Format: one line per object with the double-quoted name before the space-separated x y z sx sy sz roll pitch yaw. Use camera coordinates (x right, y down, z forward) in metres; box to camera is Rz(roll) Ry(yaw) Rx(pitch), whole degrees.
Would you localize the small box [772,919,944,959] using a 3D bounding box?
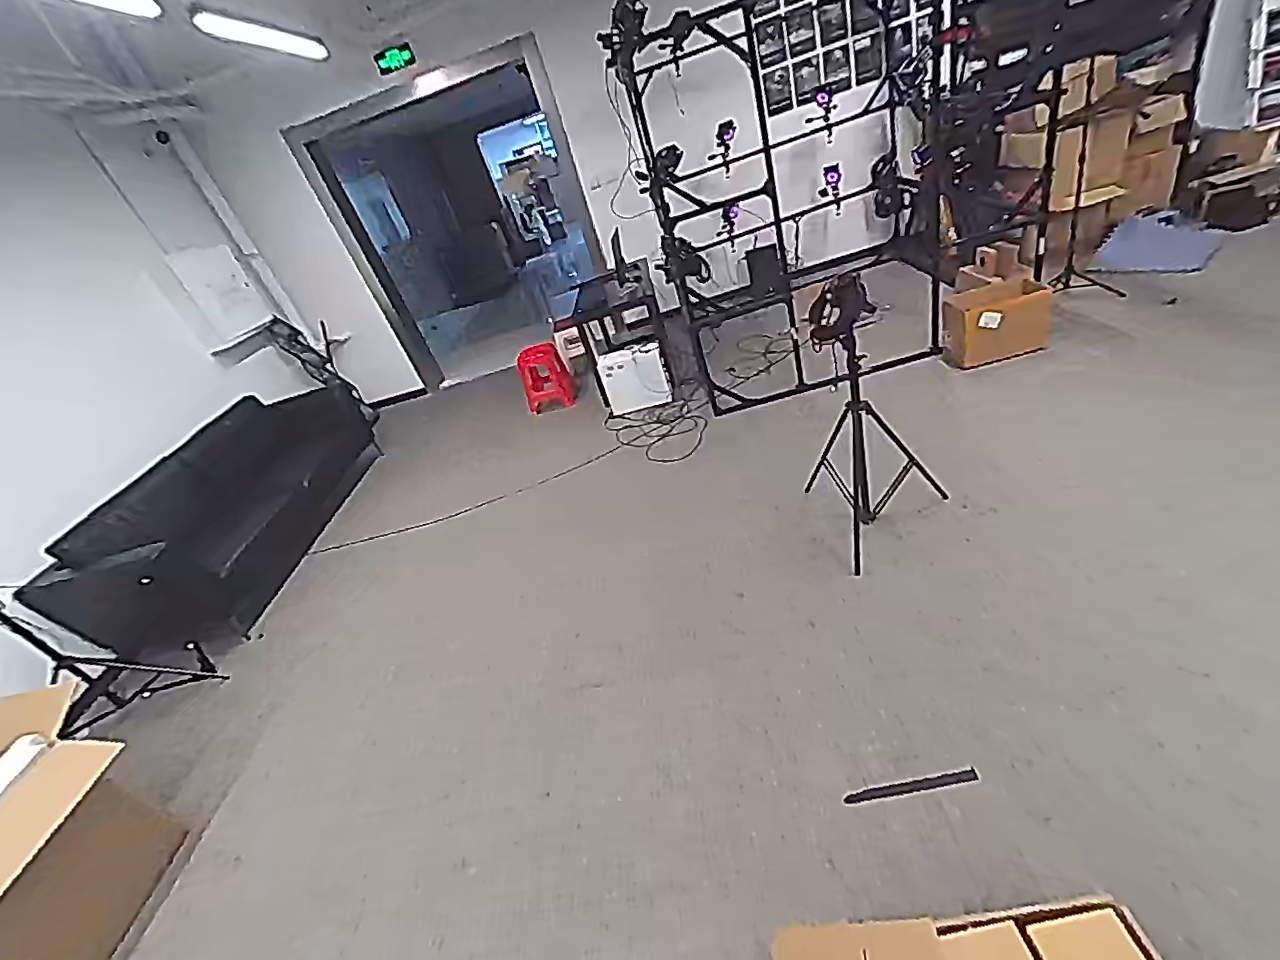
"small box" 0.240 0.590 0.571 0.168 0.176 0.179 -7 44 3
